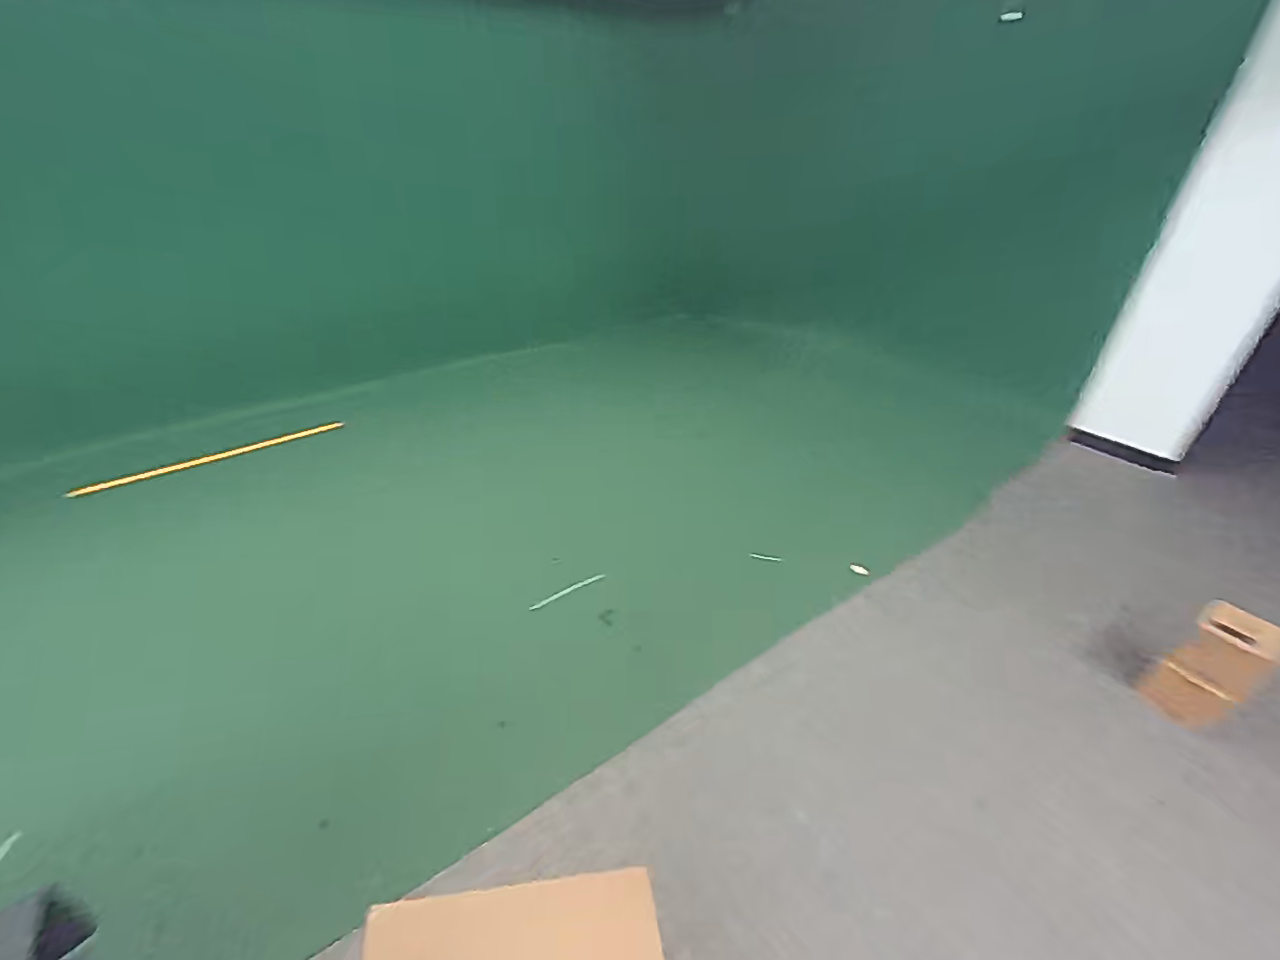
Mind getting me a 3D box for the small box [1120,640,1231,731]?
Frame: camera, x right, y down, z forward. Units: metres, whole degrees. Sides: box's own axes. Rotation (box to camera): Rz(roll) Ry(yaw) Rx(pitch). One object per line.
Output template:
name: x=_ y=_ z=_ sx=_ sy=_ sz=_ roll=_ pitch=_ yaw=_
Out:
small box: x=1.659 y=0.640 z=1.686 sx=0.179 sy=0.176 sz=0.168 roll=-18 pitch=38 yaw=-24
